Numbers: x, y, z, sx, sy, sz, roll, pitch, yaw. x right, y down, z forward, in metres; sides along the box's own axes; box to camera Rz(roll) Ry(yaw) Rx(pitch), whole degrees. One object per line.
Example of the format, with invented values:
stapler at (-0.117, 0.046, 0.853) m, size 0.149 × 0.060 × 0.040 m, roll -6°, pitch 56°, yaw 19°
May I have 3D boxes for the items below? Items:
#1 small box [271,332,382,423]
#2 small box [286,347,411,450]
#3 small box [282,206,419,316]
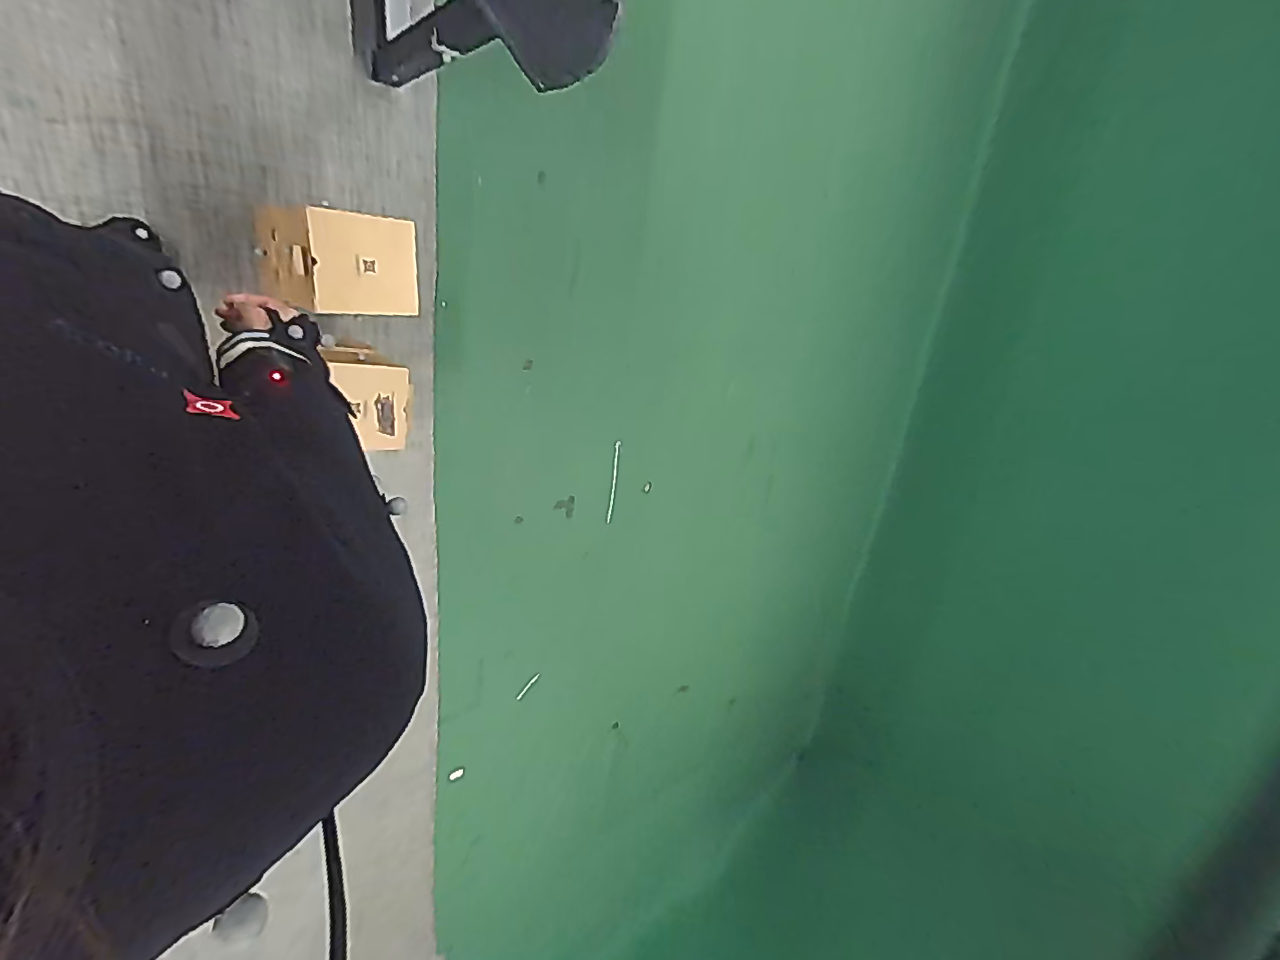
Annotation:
small box at (-0.678, -0.219, 1.167) m, size 0.179 × 0.176 × 0.168 m, roll -5°, pitch 111°, yaw -41°
small box at (-0.571, -0.160, 1.056) m, size 0.179 × 0.176 × 0.168 m, roll -5°, pitch 111°, yaw -42°
small box at (-0.526, -0.398, 0.987) m, size 0.179 × 0.176 × 0.168 m, roll -13°, pitch 118°, yaw -40°
